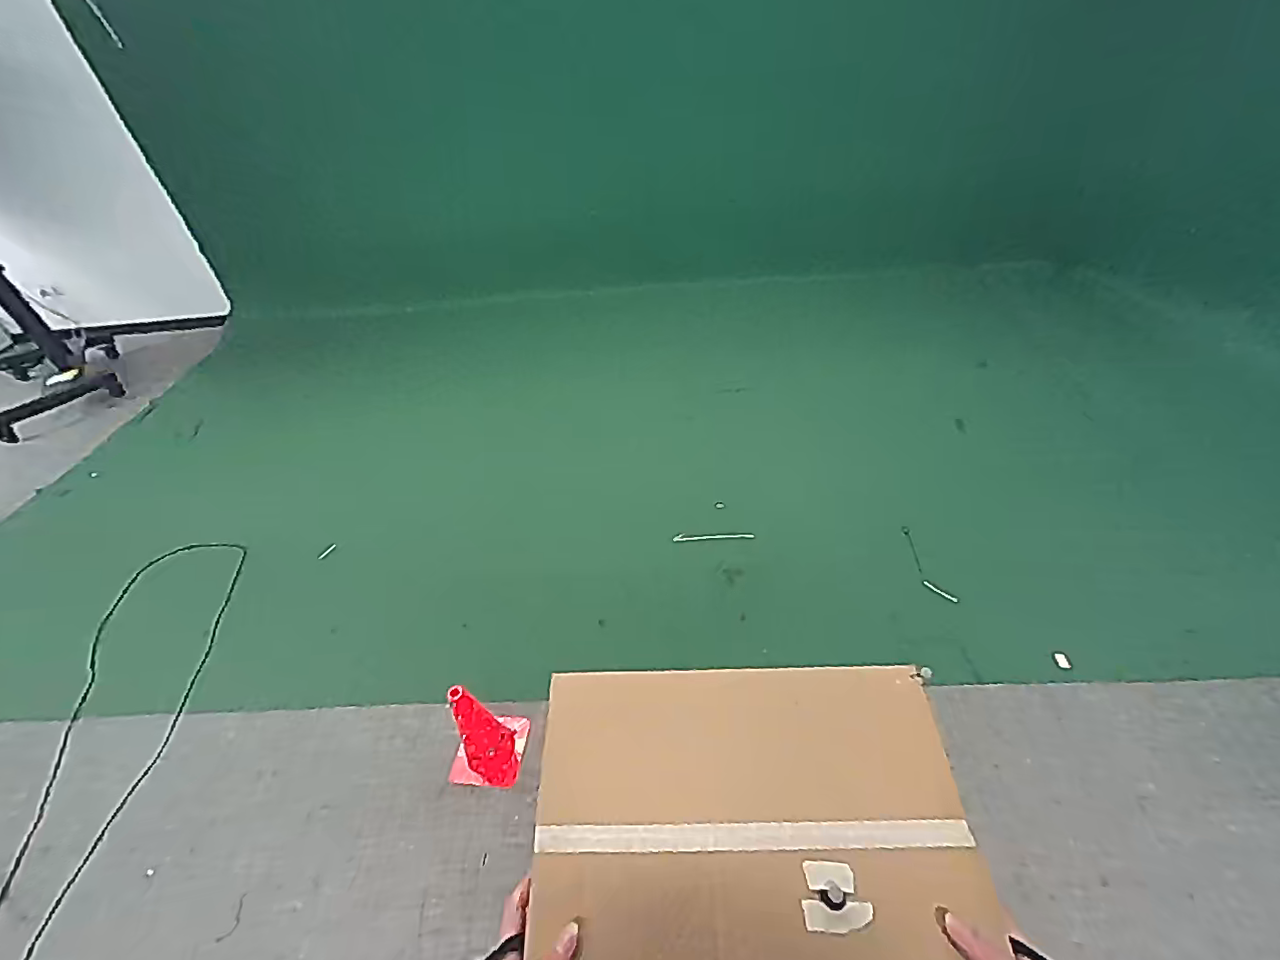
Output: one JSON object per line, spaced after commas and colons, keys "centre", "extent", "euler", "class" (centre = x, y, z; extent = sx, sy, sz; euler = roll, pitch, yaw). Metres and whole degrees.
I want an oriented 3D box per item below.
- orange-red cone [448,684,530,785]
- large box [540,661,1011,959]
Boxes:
{"centre": [-0.459, 0.671, 1.499], "extent": [0.199, 0.360, 0.198], "euler": [0, 42, 10], "class": "orange-red cone"}
{"centre": [0.115, 0.426, 0.631], "extent": [0.408, 0.320, 0.320], "euler": [-3, 52, 2], "class": "large box"}
